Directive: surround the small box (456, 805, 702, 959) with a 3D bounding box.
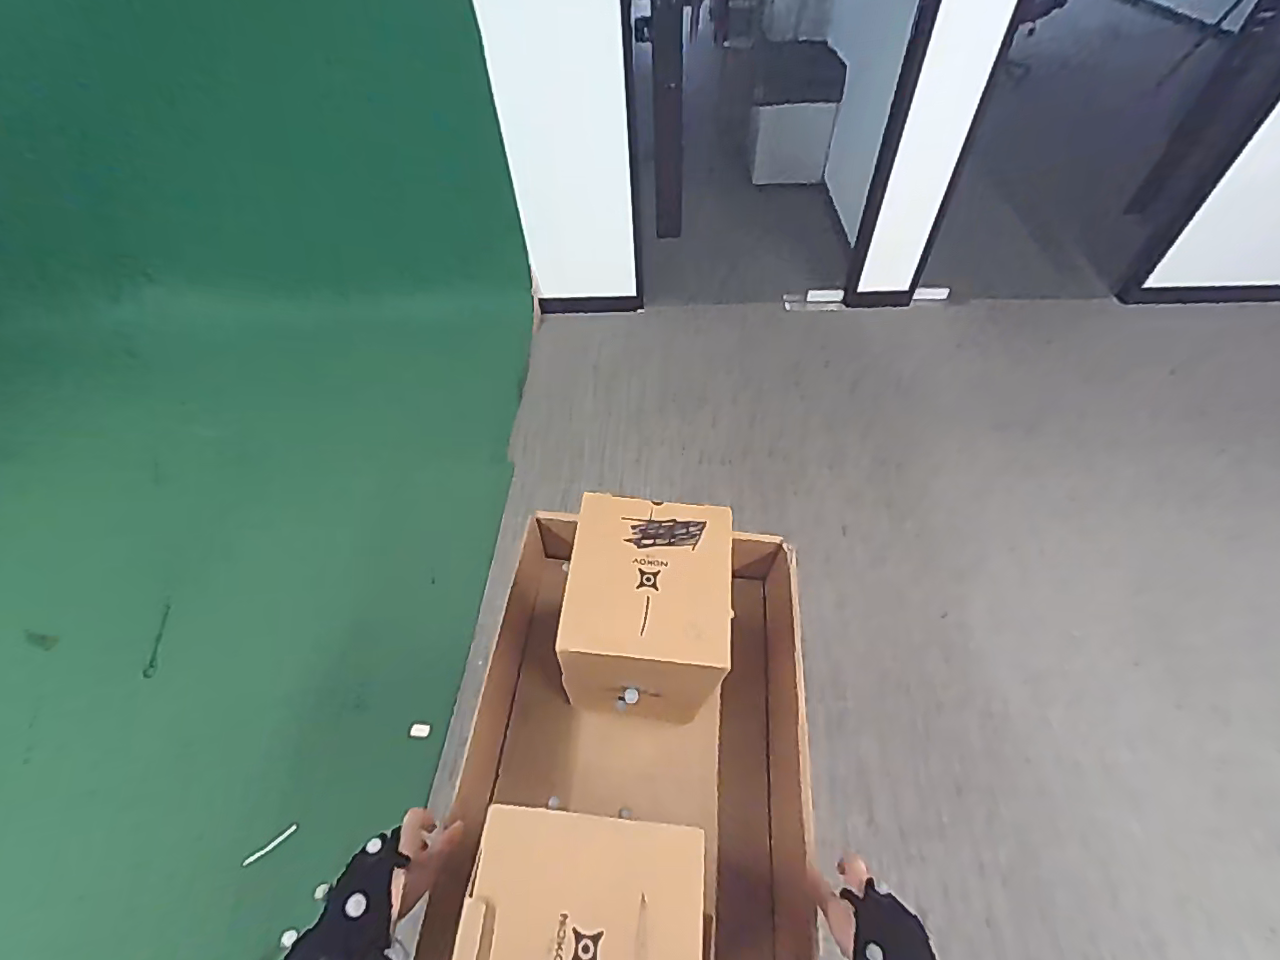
[{"bbox_3d":[-0.047,0.383,0.455,0.179,0.176,0.168,6,56,0],"label":"small box"}]

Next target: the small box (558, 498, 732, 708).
[{"bbox_3d":[0.008,0.144,0.616,0.168,0.176,0.179,6,57,1],"label":"small box"}]

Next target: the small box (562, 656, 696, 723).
[{"bbox_3d":[-0.001,0.231,0.754,0.179,0.176,0.168,7,57,2],"label":"small box"}]
